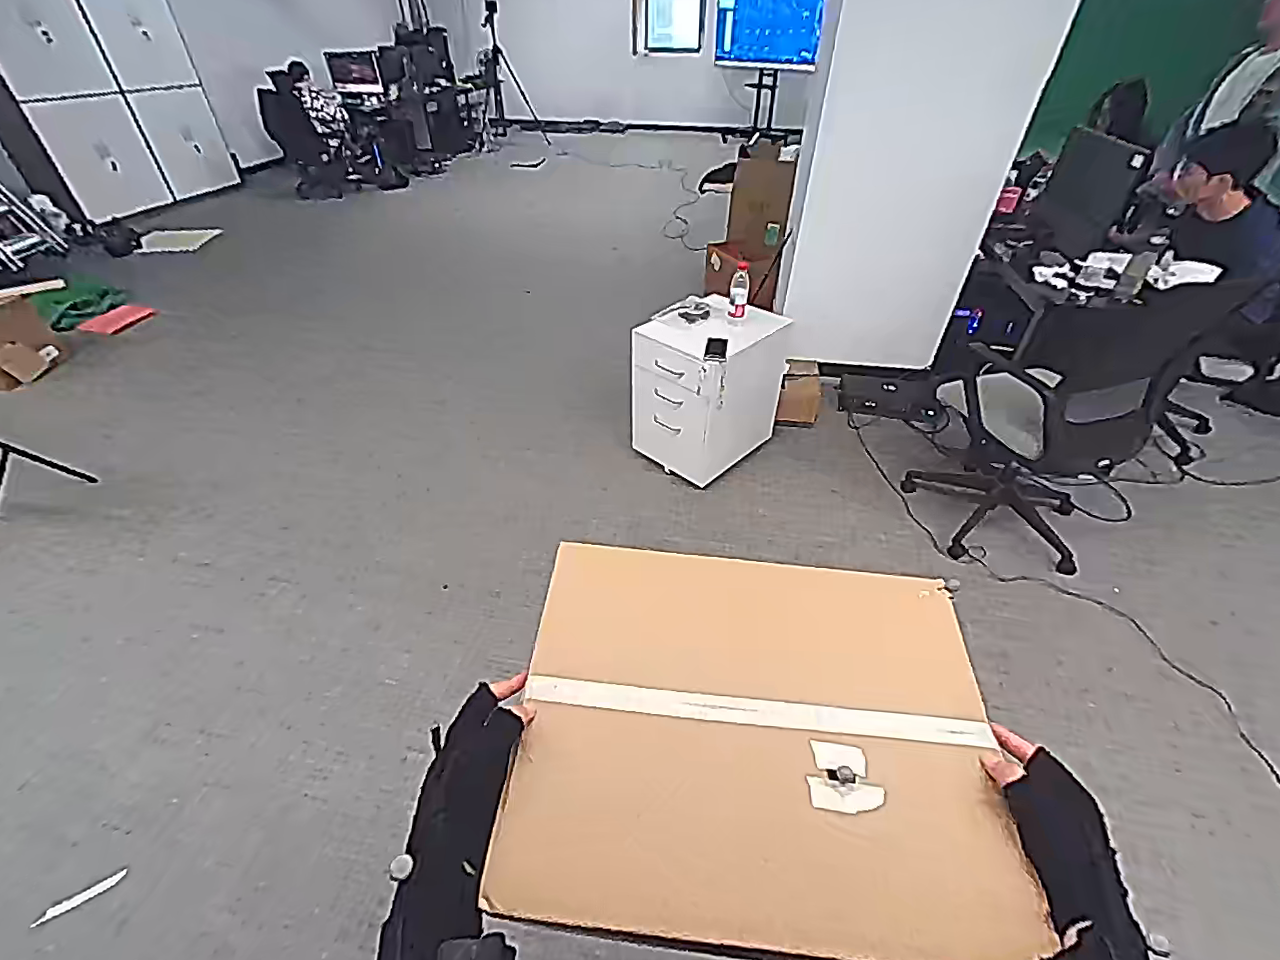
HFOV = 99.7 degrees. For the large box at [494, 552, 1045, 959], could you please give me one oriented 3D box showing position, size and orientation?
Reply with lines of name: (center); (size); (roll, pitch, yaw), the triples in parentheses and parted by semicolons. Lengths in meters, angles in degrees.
large box: (0.095, 0.306, 0.592); (0.408, 0.320, 0.320); (6, 50, 2)
